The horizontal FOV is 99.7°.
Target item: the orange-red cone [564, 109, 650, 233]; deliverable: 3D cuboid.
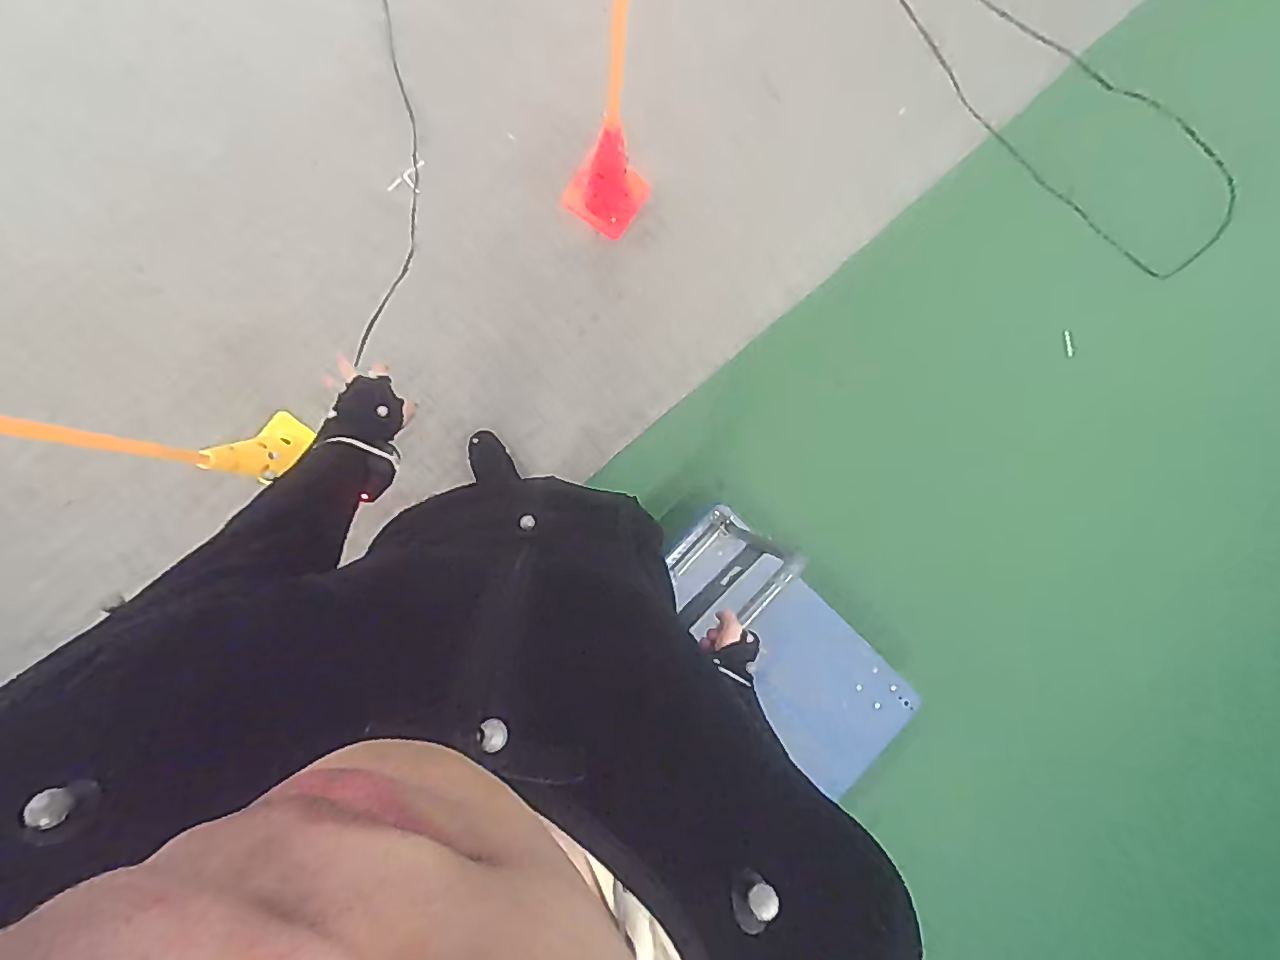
[{"bbox_3d":[-0.074,-0.838,1.403,0.198,0.360,0.199,35,88,-8],"label":"orange-red cone"}]
